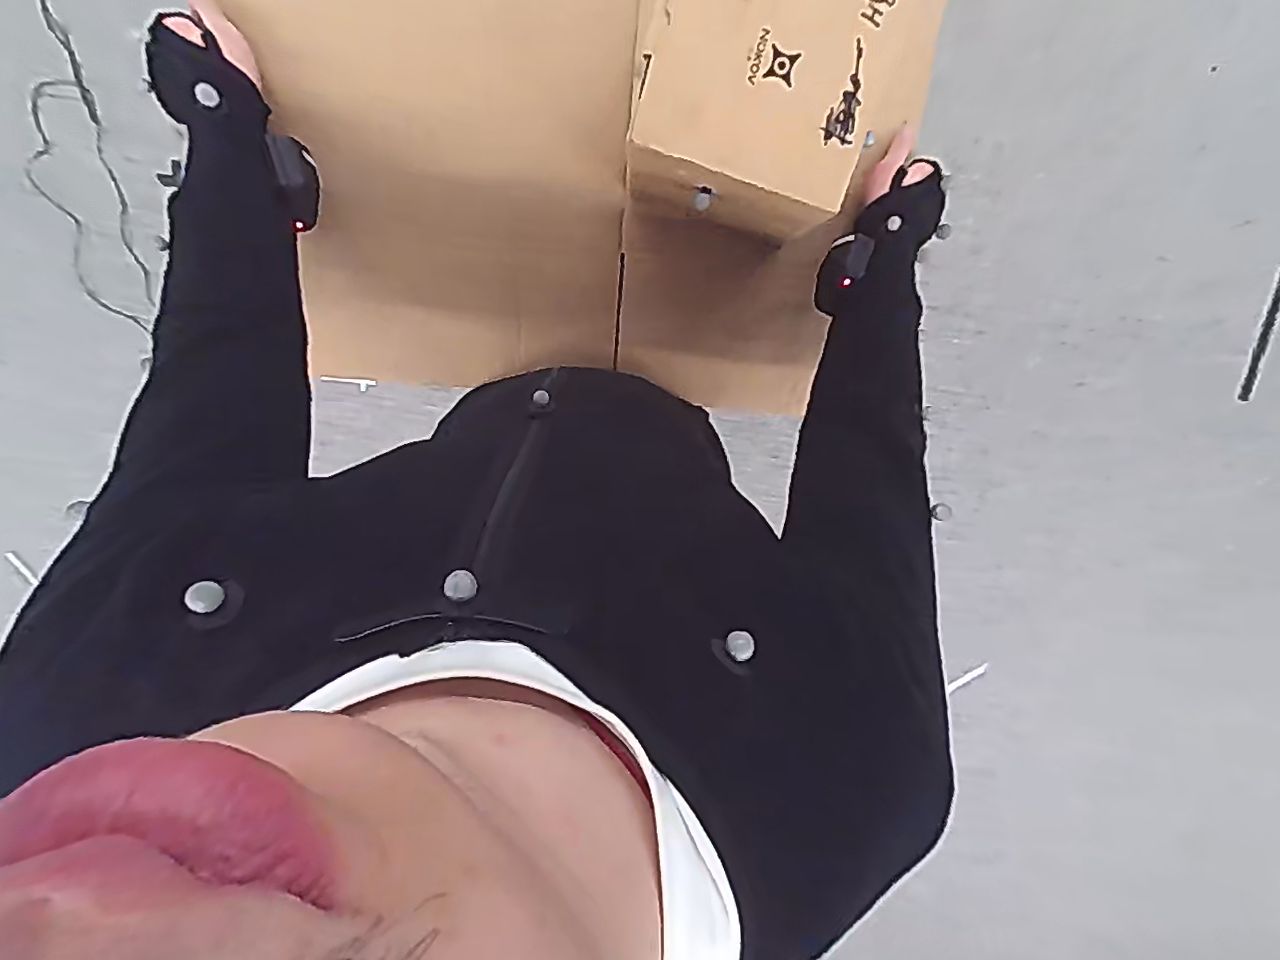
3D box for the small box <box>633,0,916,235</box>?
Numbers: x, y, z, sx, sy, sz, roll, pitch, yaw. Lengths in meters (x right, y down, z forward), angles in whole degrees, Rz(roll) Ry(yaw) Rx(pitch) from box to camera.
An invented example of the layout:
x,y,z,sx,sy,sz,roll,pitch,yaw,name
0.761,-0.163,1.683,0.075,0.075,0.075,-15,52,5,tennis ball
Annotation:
x,y,z,sx,sy,sz,roll,pitch,yaw,name
0.101,-0.337,0.483,0.179,0.176,0.168,17,105,-4,small box
